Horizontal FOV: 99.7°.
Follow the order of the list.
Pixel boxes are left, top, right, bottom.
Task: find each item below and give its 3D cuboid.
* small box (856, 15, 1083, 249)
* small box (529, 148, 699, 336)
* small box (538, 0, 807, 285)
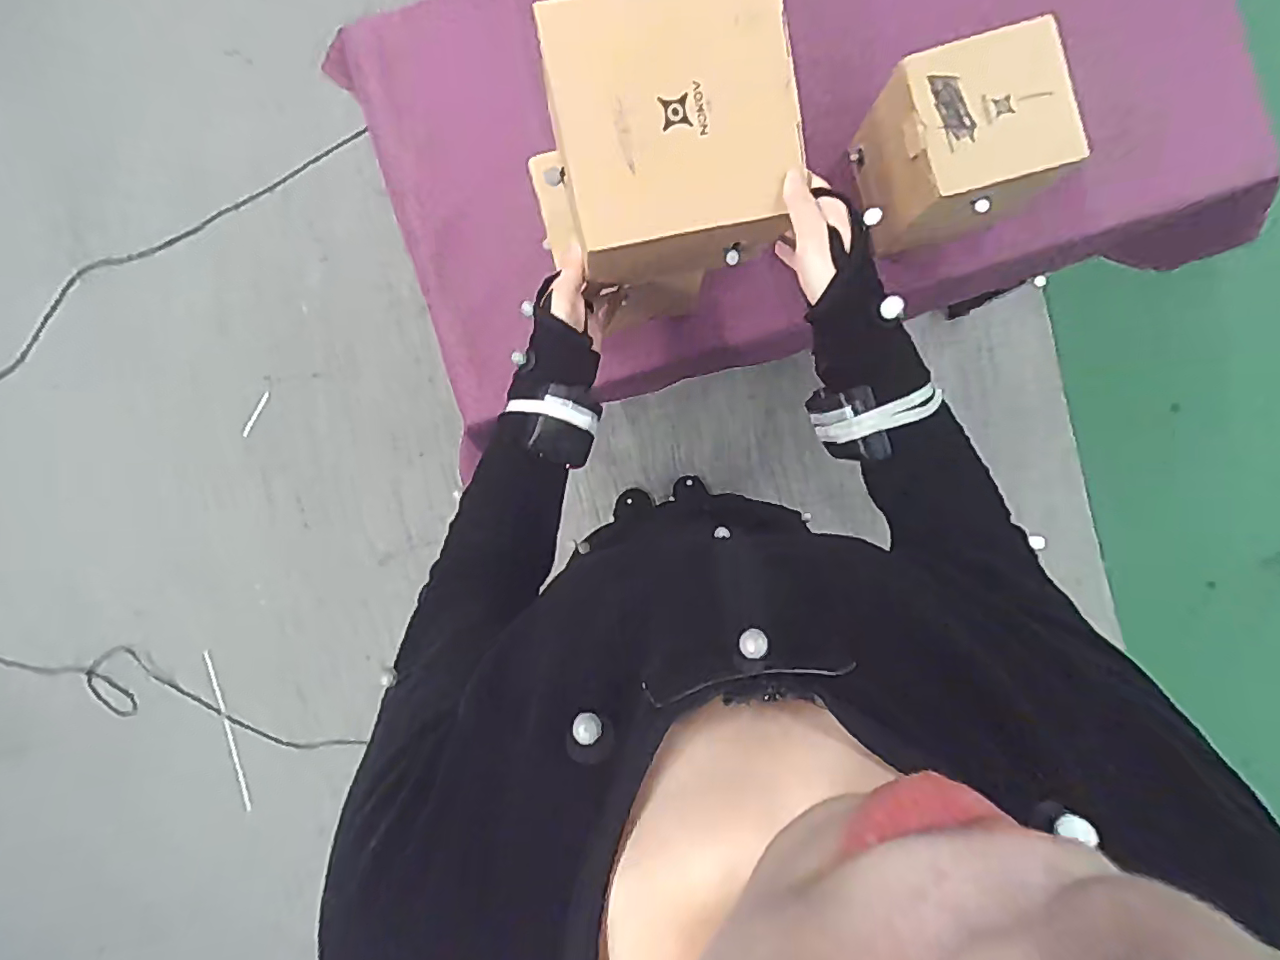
[{"bbox_3d":[0.393,-0.418,0.683,0.179,0.176,0.168,-15,91,1],"label":"small box"},{"bbox_3d":[-0.029,-0.307,0.696,0.168,0.176,0.179,-14,90,2],"label":"small box"},{"bbox_3d":[0.020,-0.277,0.464,0.179,0.176,0.168,-12,101,-3],"label":"small box"}]
